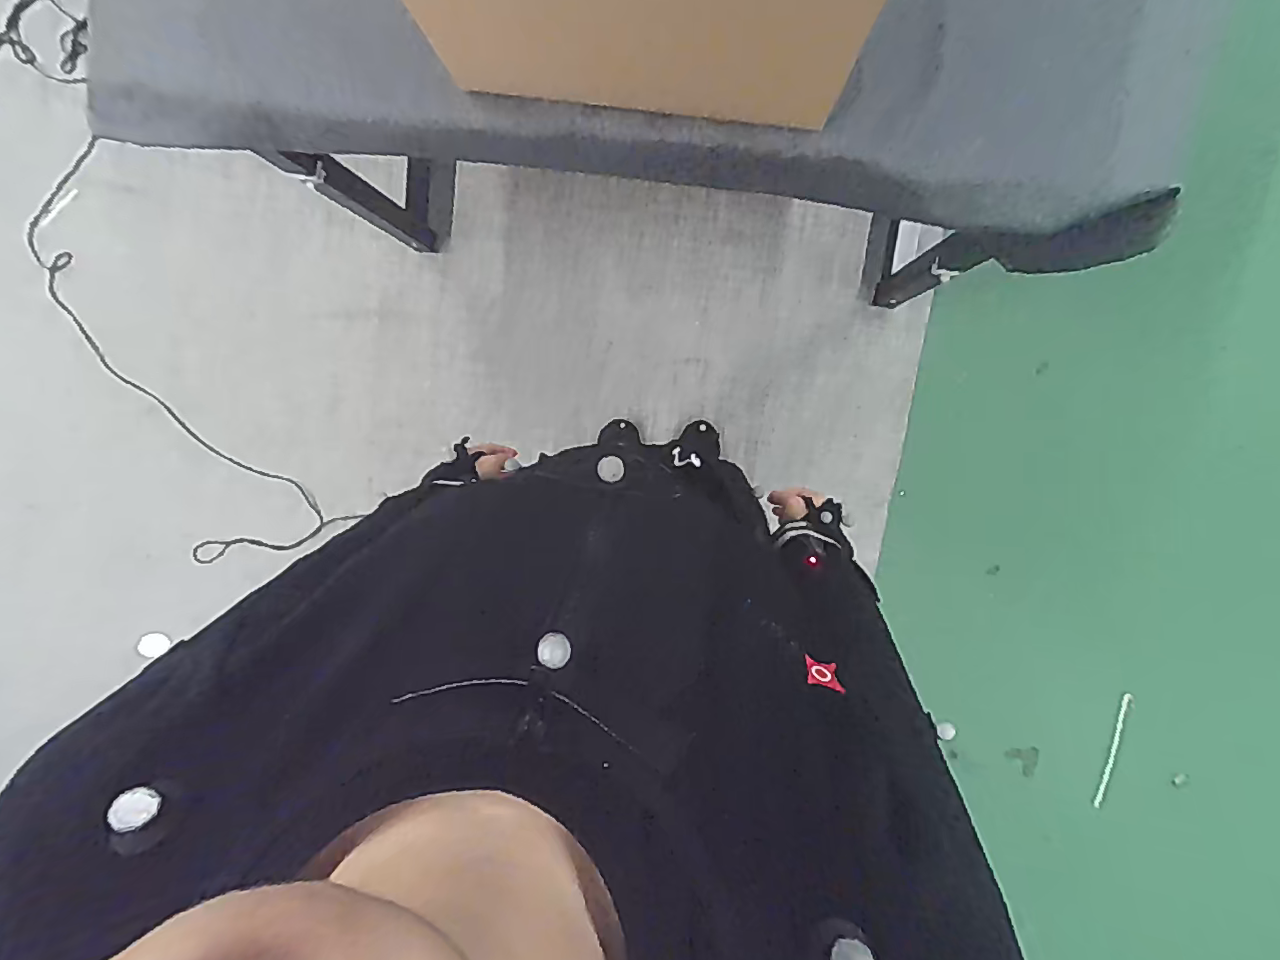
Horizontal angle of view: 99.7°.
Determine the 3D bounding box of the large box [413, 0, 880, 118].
[{"bbox_3d":[0.009,-0.543,0.426,0.408,0.320,0.320,8,96,2],"label":"large box"}]
